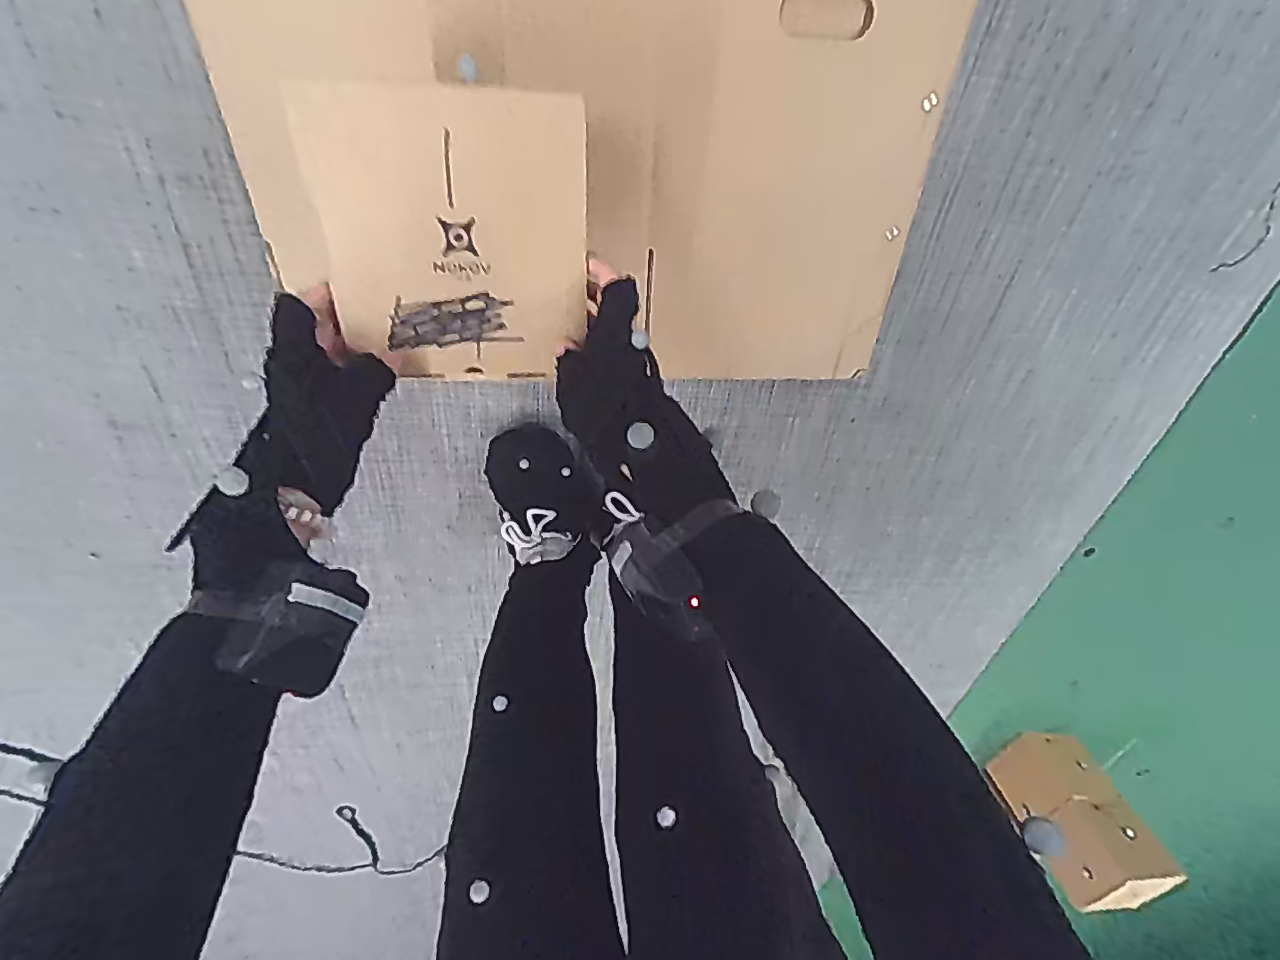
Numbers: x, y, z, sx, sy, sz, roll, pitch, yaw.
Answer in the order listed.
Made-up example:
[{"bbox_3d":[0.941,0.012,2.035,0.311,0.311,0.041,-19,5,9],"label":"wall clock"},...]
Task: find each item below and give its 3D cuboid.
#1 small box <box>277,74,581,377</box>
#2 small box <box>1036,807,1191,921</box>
[{"bbox_3d":[-0.131,-0.193,0.413,0.168,0.176,0.179,-3,124,-9],"label":"small box"},{"bbox_3d":[1.073,0.877,1.246,0.168,0.176,0.179,5,125,-11],"label":"small box"}]
